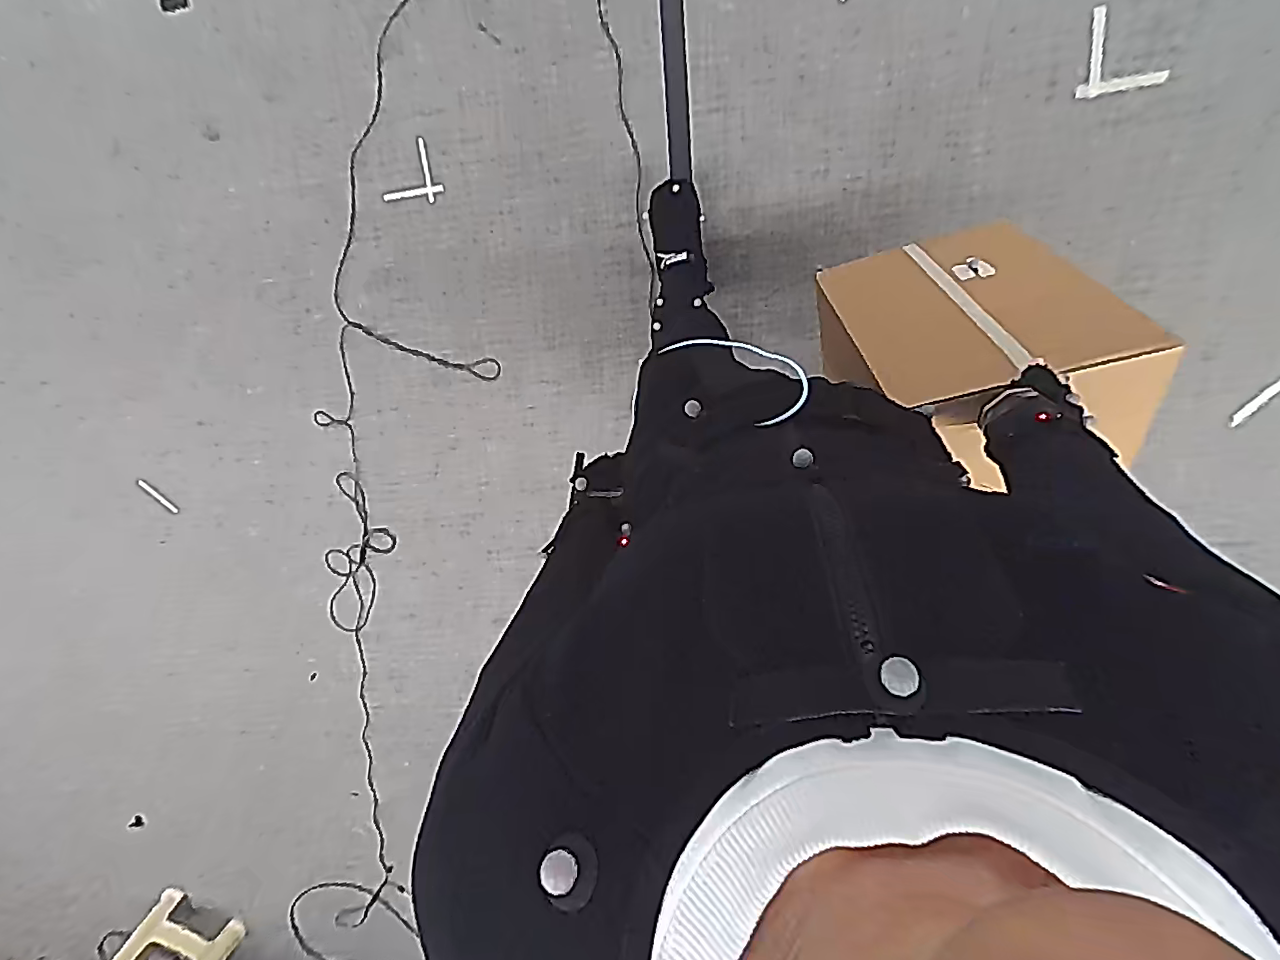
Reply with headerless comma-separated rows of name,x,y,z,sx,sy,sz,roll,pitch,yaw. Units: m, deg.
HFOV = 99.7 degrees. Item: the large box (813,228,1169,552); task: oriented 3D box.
large box,0.504,-0.150,0.889,0.320,0.408,0.320,-13,132,9
